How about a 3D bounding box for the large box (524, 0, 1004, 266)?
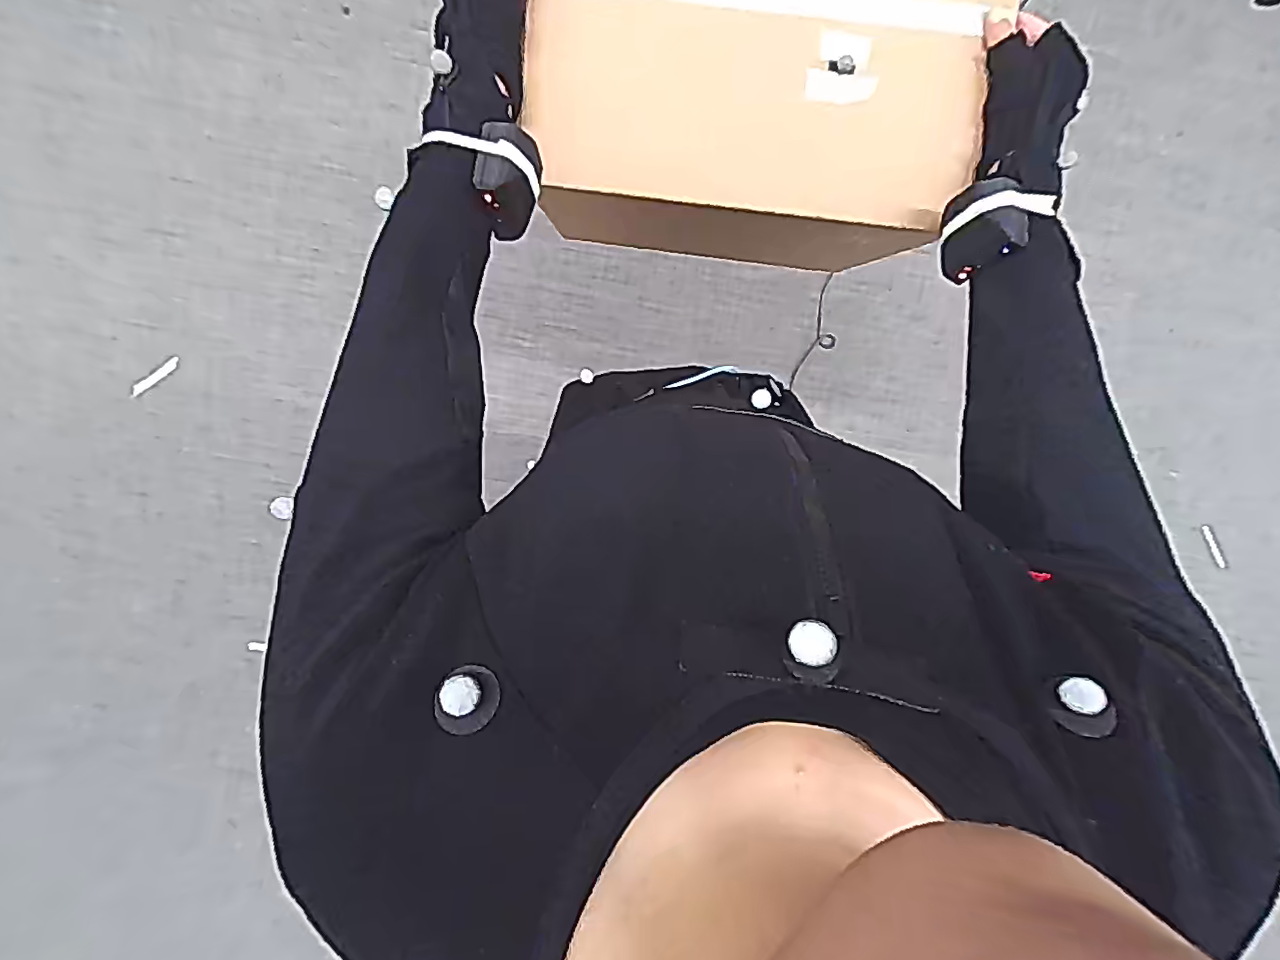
[{"bbox_3d":[0.101,-0.435,0.597,0.408,0.320,0.320,6,106,-3],"label":"large box"}]
